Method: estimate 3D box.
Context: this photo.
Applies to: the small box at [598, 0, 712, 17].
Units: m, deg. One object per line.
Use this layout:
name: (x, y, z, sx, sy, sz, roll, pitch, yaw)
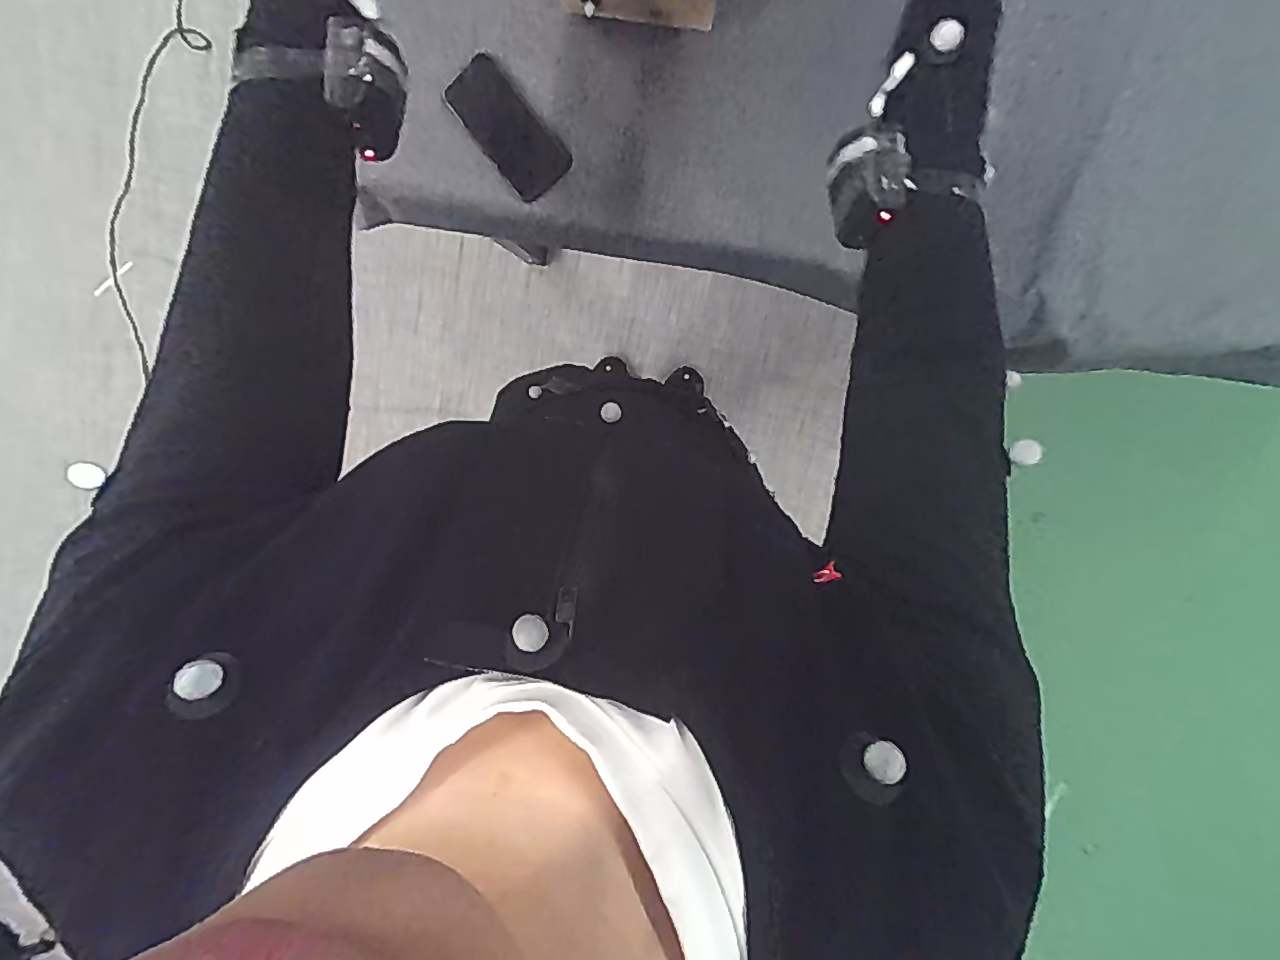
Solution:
small box: (0.004, -0.582, 0.503, 0.168, 0.176, 0.179, 7, 103, 0)
